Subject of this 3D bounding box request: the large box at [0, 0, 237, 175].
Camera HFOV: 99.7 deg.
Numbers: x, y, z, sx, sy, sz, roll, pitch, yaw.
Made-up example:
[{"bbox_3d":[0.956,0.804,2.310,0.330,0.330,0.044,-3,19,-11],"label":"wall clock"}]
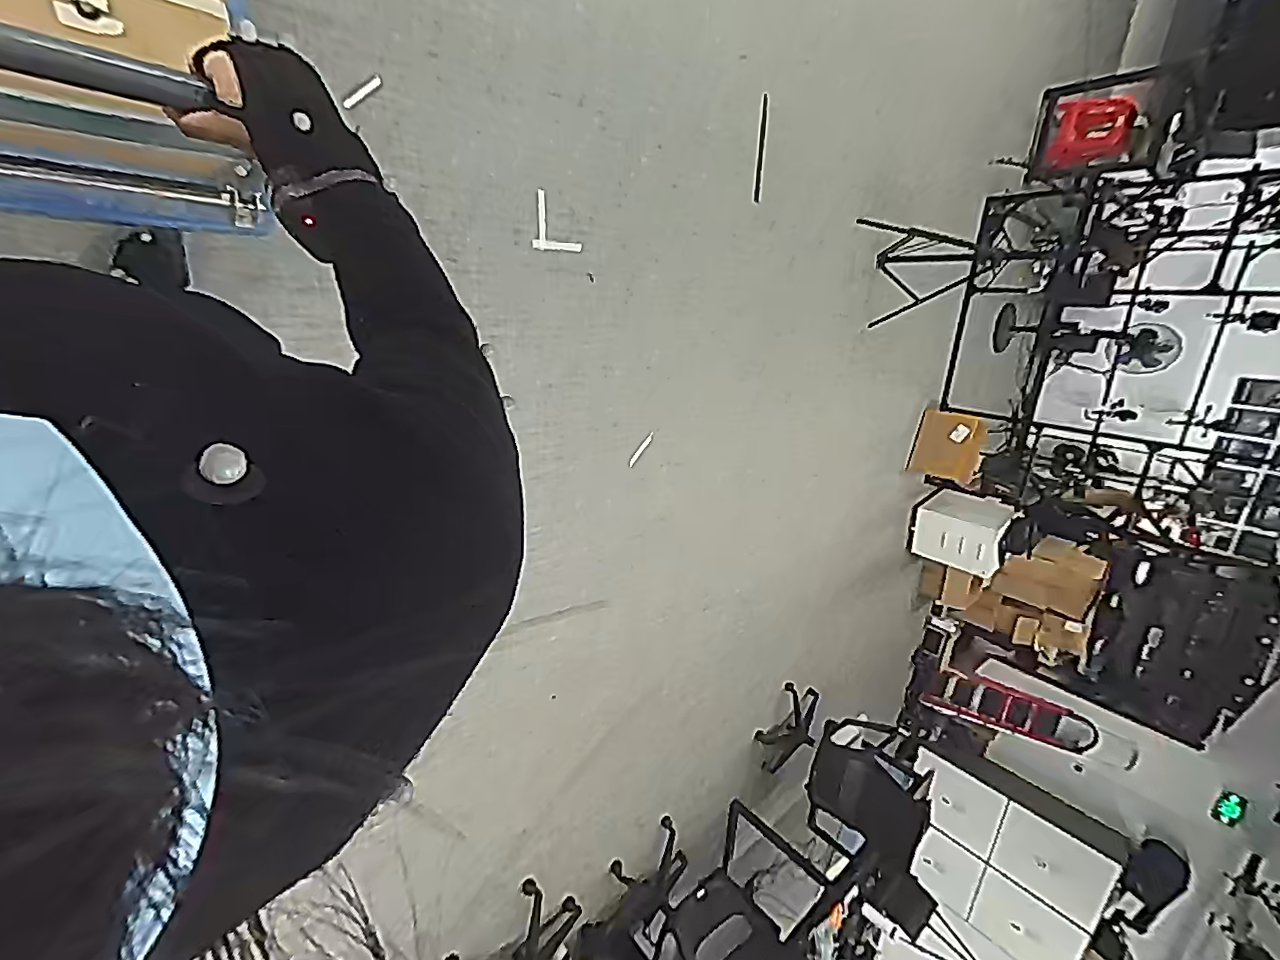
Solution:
[{"bbox_3d":[-0.798,-0.609,0.676,0.408,0.320,0.320,-13,114,-42],"label":"large box"}]
